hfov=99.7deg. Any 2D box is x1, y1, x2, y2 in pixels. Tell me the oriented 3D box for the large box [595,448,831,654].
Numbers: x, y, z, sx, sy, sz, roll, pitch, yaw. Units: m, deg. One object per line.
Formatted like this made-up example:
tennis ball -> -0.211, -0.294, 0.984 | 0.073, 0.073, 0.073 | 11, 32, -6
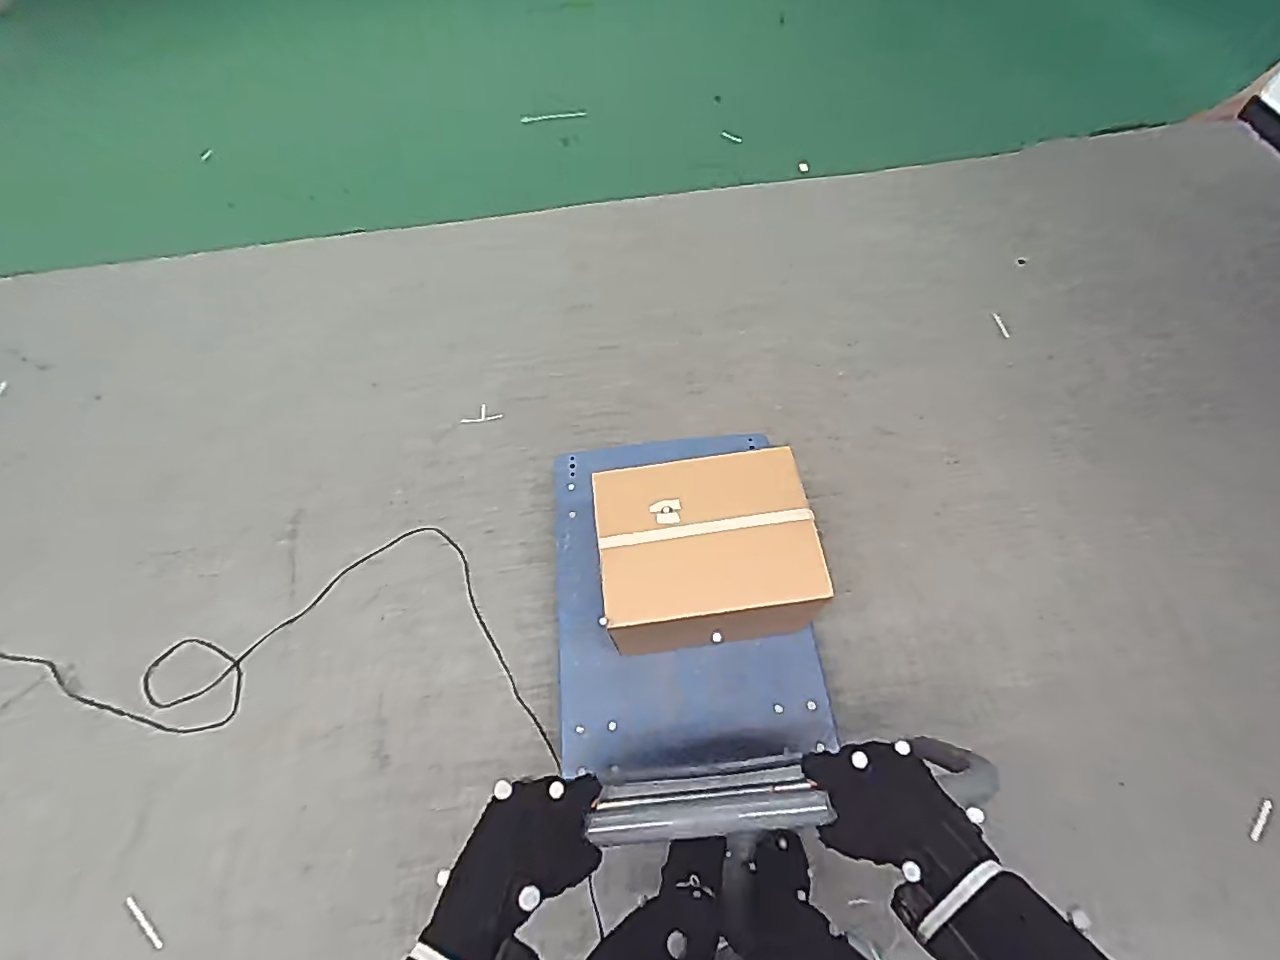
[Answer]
large box -> 0.138, 0.167, 1.164 | 0.408, 0.320, 0.320 | -10, 62, 0
